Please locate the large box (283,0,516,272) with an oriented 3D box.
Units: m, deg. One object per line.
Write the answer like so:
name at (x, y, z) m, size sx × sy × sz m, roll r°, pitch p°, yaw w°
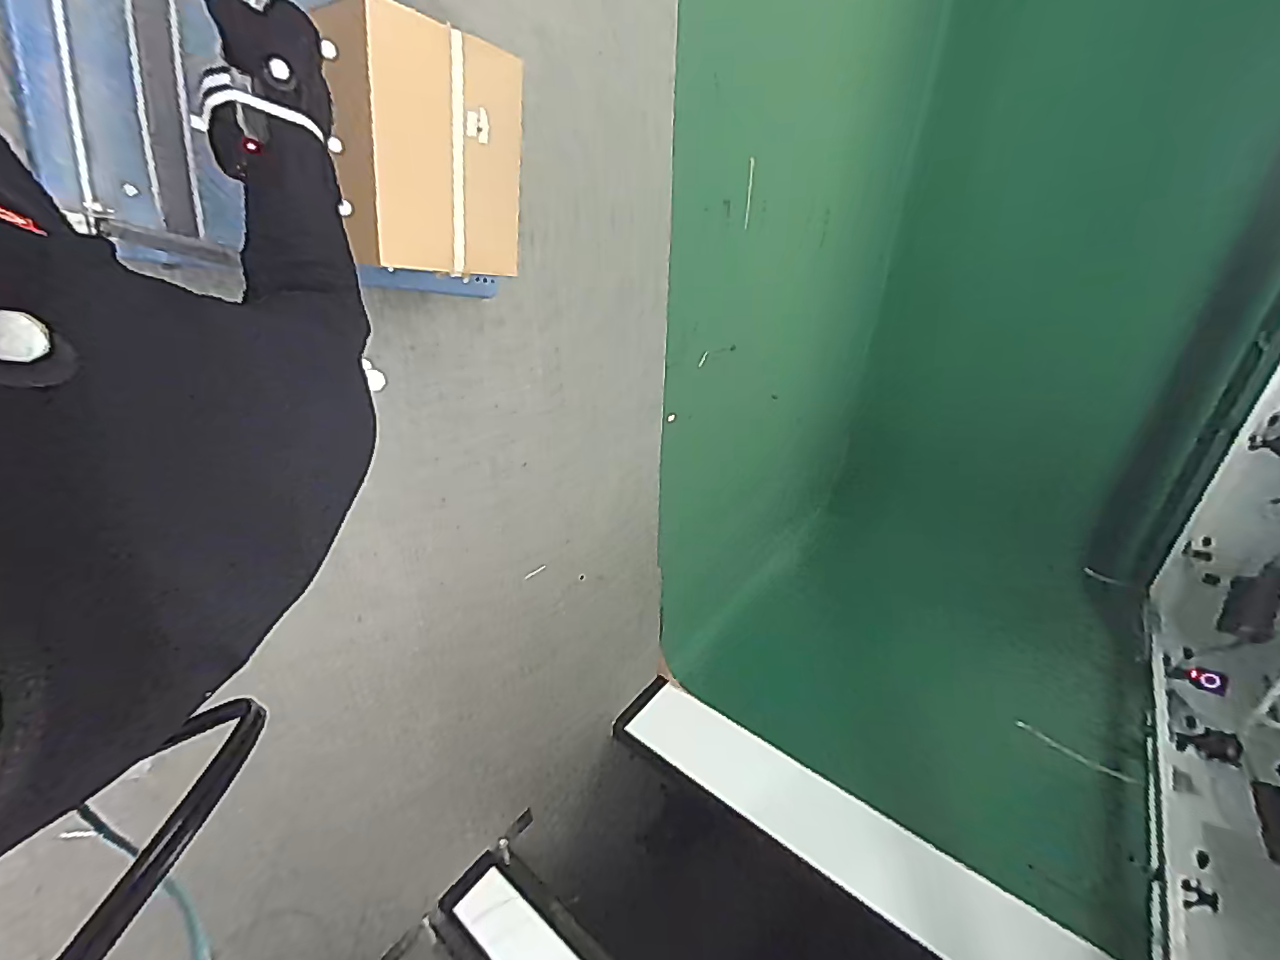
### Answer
large box at (-0.469, -0.649, 1.091) m, size 0.320 × 0.320 × 0.408 m, roll -20°, pitch 124°, yaw -49°
